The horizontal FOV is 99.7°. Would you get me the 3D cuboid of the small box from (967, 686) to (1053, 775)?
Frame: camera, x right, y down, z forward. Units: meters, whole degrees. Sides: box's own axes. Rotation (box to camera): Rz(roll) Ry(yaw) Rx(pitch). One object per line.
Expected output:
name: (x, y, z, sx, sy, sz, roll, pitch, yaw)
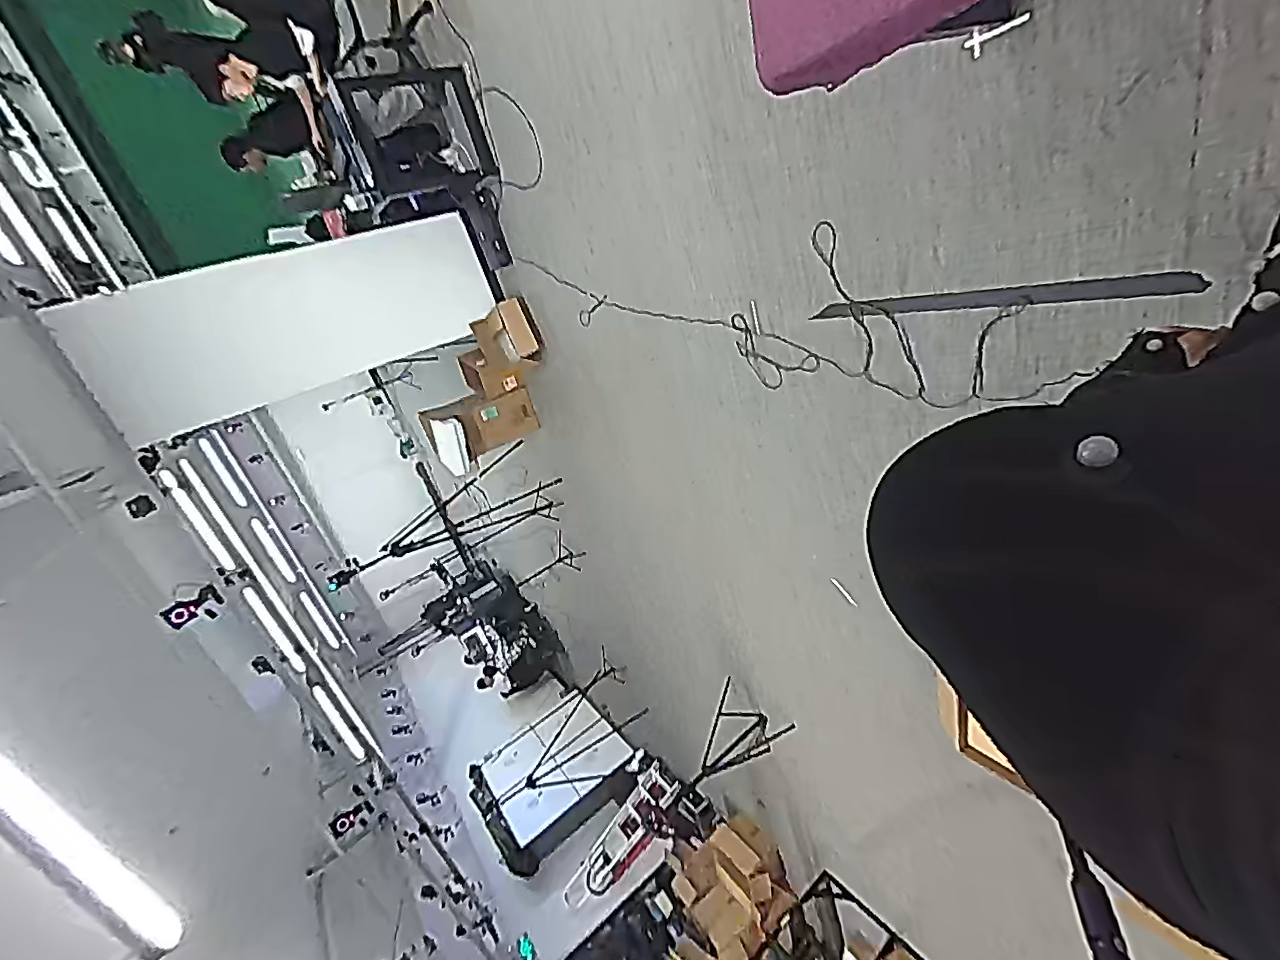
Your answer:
small box: (1.205, 0.808, 1.768, 0.179, 0.176, 0.168, 22, 132, 53)
